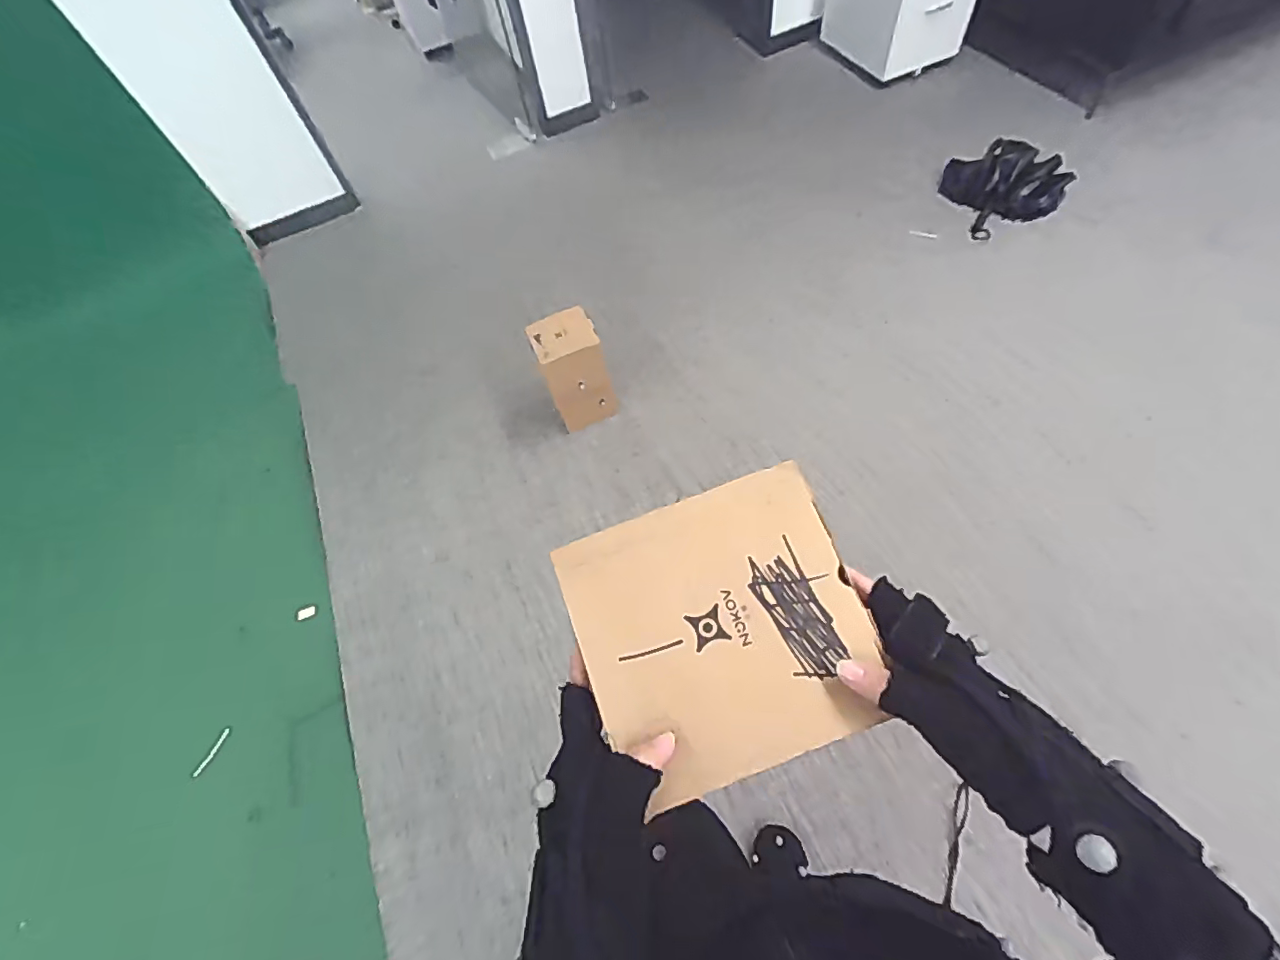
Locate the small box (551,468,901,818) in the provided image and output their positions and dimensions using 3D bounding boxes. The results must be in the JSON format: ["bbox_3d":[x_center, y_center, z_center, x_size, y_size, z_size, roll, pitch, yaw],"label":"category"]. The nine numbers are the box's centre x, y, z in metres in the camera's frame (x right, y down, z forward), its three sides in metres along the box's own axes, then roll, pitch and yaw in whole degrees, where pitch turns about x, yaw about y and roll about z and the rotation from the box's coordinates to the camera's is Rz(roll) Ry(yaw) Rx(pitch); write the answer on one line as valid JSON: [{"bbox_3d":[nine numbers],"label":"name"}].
[{"bbox_3d":[0.051,0.116,0.417,0.179,0.176,0.168,-23,73,-5],"label":"small box"}]

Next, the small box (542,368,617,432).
[{"bbox_3d":[-0.182,-0.284,1.699,0.179,0.176,0.168,-26,60,-6],"label":"small box"}]

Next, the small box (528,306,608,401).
[{"bbox_3d":[-0.199,-0.359,1.554,0.179,0.176,0.168,-22,60,-6],"label":"small box"}]
